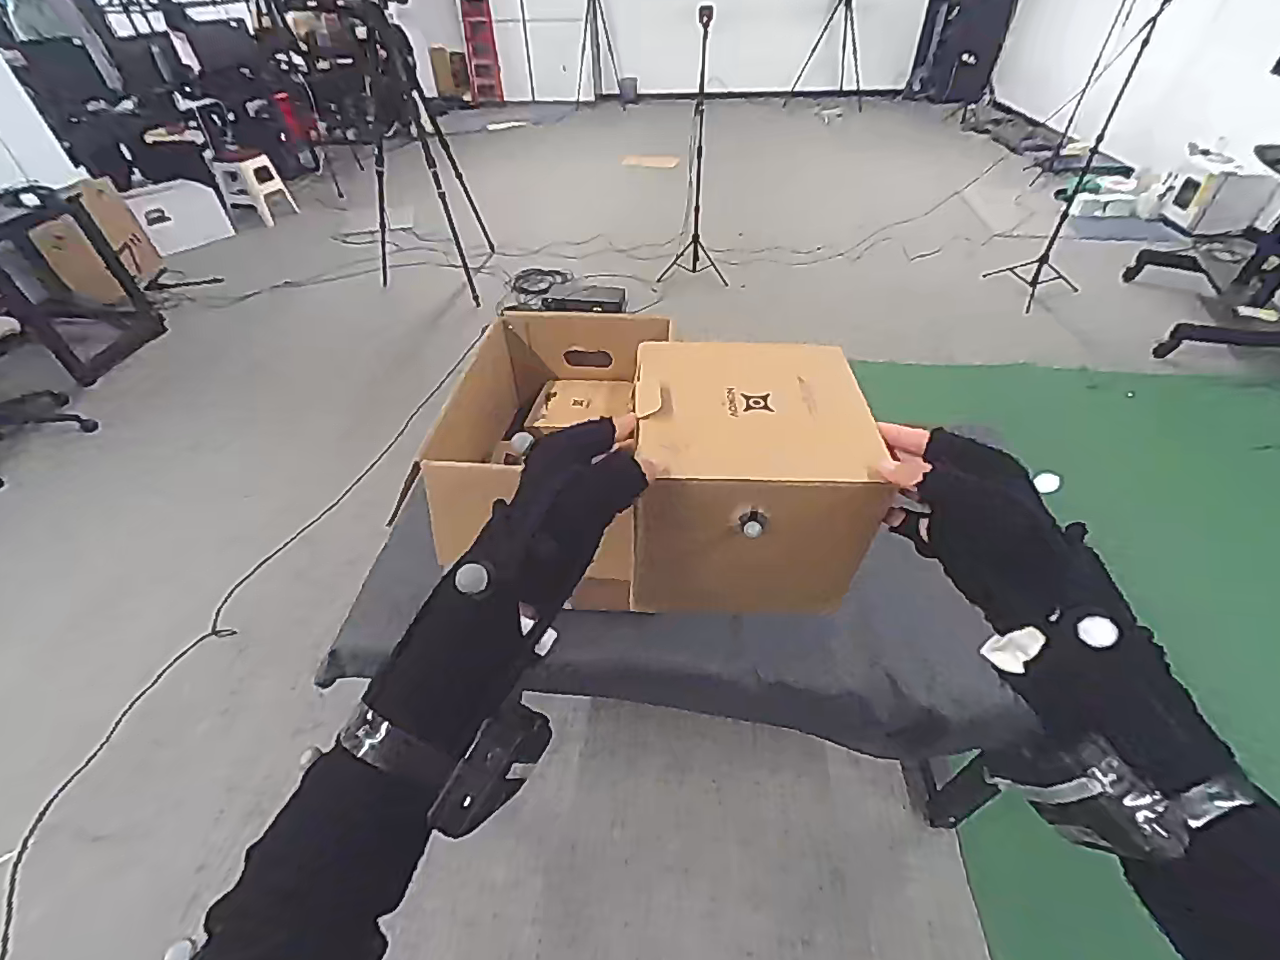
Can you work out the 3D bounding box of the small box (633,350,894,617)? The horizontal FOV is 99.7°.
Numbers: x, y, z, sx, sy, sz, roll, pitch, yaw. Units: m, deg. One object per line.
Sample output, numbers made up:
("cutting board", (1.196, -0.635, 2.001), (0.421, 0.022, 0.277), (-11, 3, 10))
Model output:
("small box", (0.083, 0.005, 0.469), (0.179, 0.176, 0.168), (2, 45, -1))
